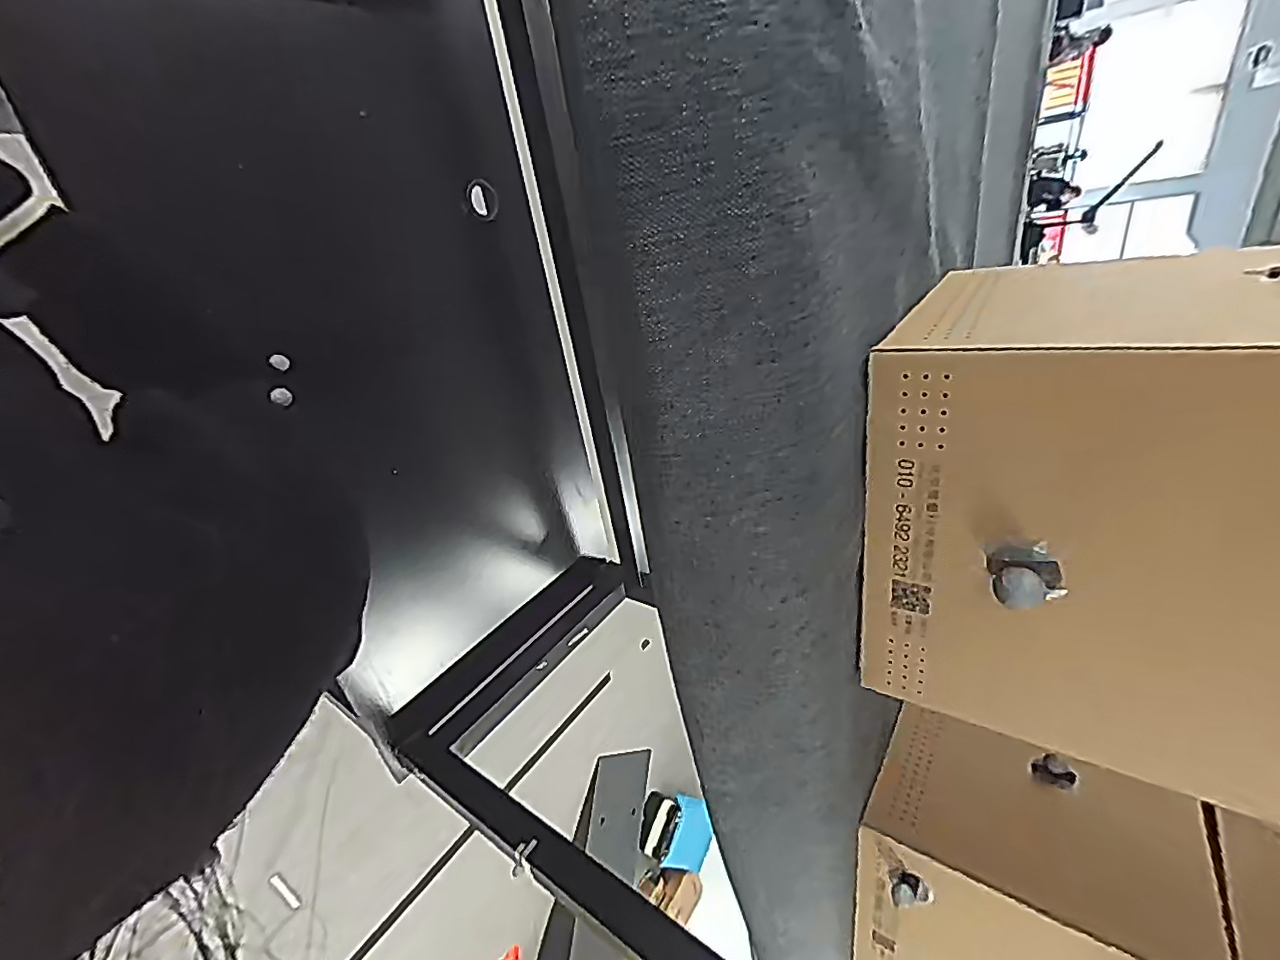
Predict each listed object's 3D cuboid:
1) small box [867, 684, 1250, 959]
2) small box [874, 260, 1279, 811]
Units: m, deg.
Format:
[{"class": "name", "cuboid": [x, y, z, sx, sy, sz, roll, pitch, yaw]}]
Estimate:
[{"class": "small box", "cuboid": [0.268, 0.262, 0.380, 0.179, 0.176, 0.168, -34, 125, -47]}, {"class": "small box", "cuboid": [0.217, 0.000, 0.243, 0.179, 0.176, 0.168, -38, 127, -45]}]
